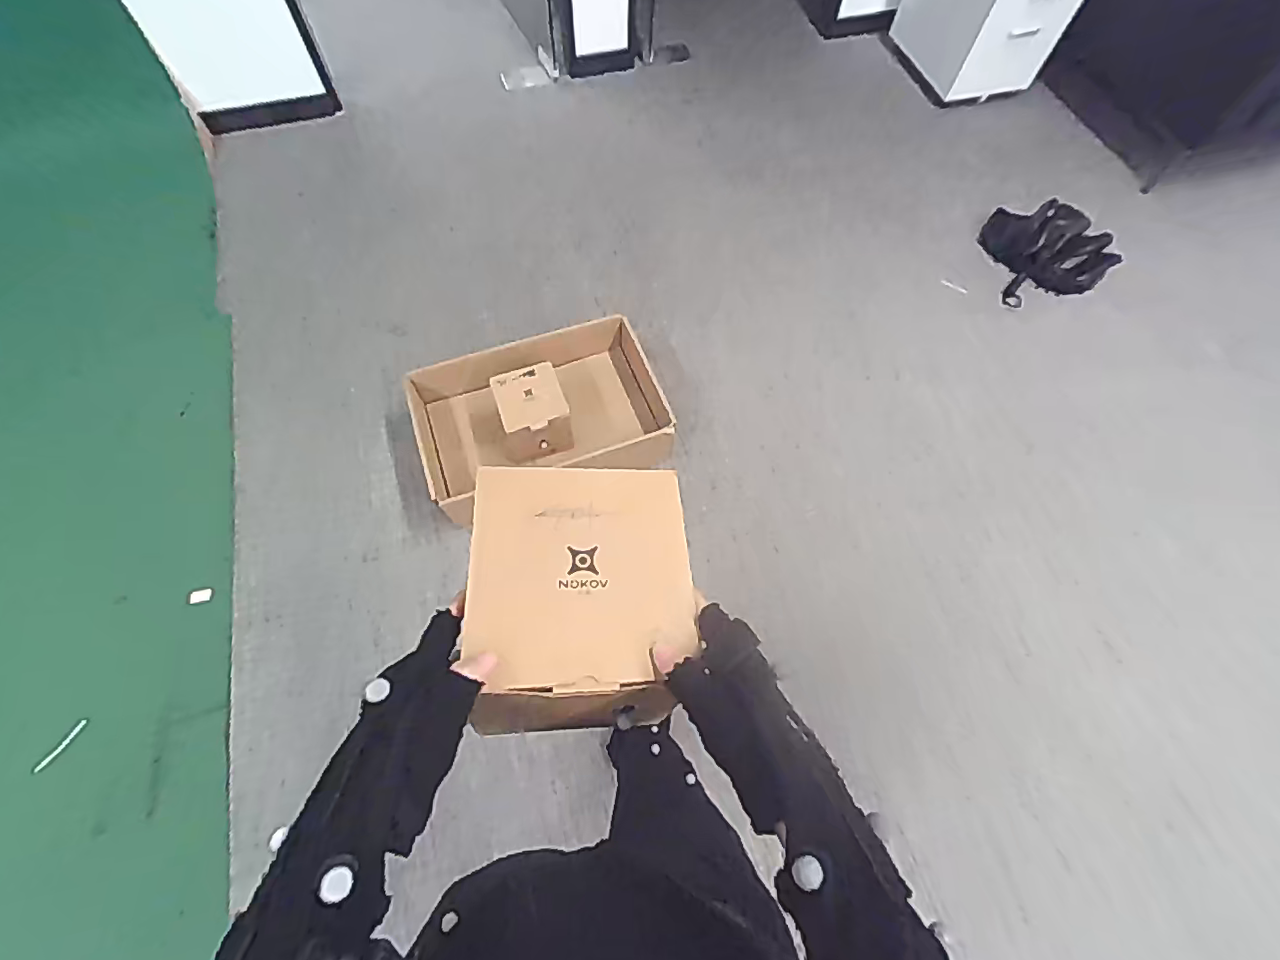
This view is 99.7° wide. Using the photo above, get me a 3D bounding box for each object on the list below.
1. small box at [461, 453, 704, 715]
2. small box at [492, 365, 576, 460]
[{"bbox_3d":[-0.057,0.096,0.467,0.168,0.176,0.179,-3,59,-12],"label":"small box"},{"bbox_3d":[-0.275,-0.169,1.433,0.168,0.176,0.179,-18,67,-10],"label":"small box"}]
